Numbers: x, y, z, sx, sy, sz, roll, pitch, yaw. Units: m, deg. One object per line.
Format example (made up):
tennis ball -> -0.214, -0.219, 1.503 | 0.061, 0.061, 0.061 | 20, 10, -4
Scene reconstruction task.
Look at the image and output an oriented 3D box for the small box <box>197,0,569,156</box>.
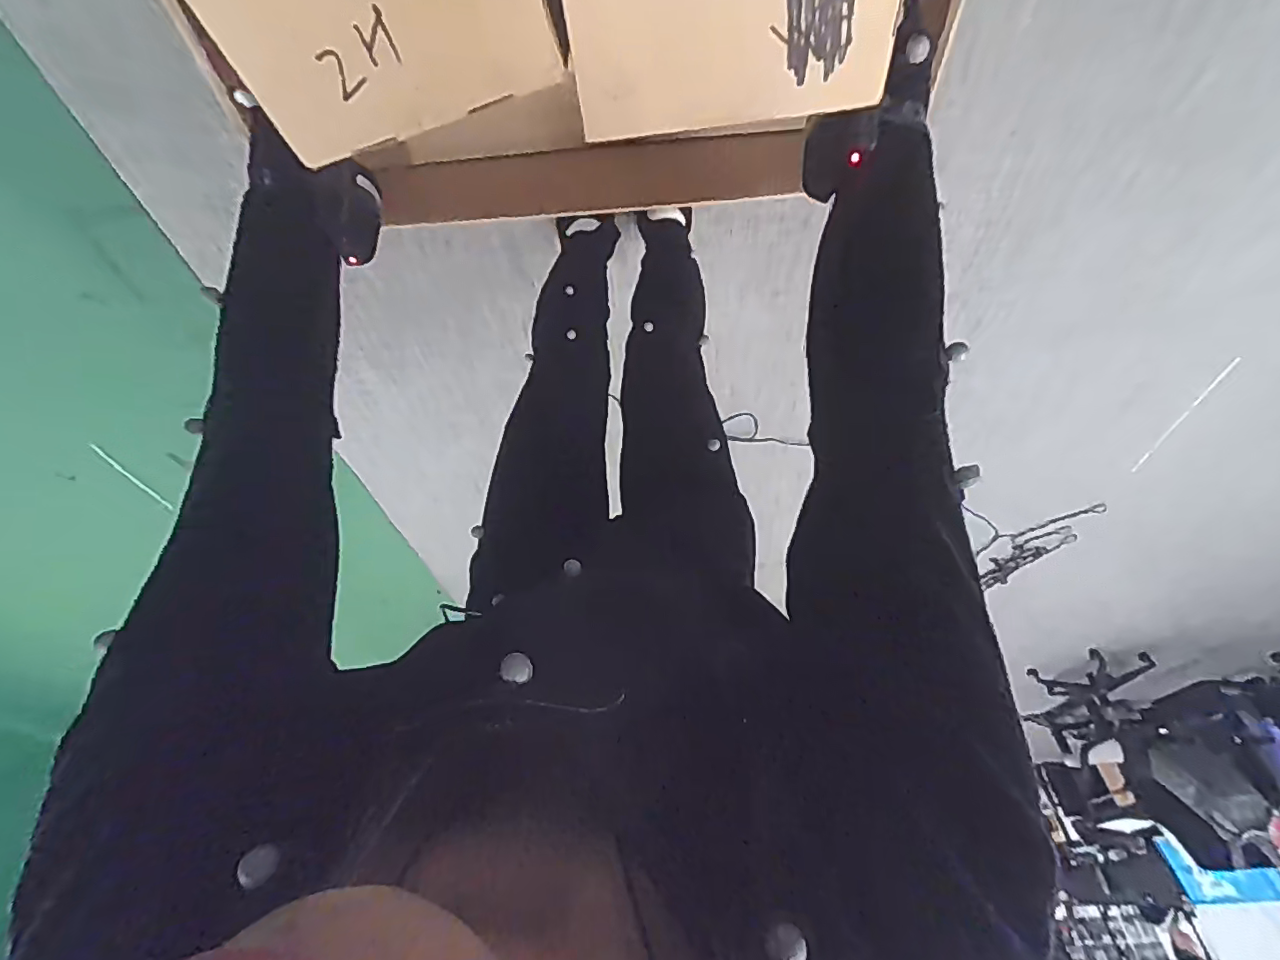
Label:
small box -> -0.145, -0.319, 0.293 | 0.168, 0.176, 0.179 | -12, 140, 10
